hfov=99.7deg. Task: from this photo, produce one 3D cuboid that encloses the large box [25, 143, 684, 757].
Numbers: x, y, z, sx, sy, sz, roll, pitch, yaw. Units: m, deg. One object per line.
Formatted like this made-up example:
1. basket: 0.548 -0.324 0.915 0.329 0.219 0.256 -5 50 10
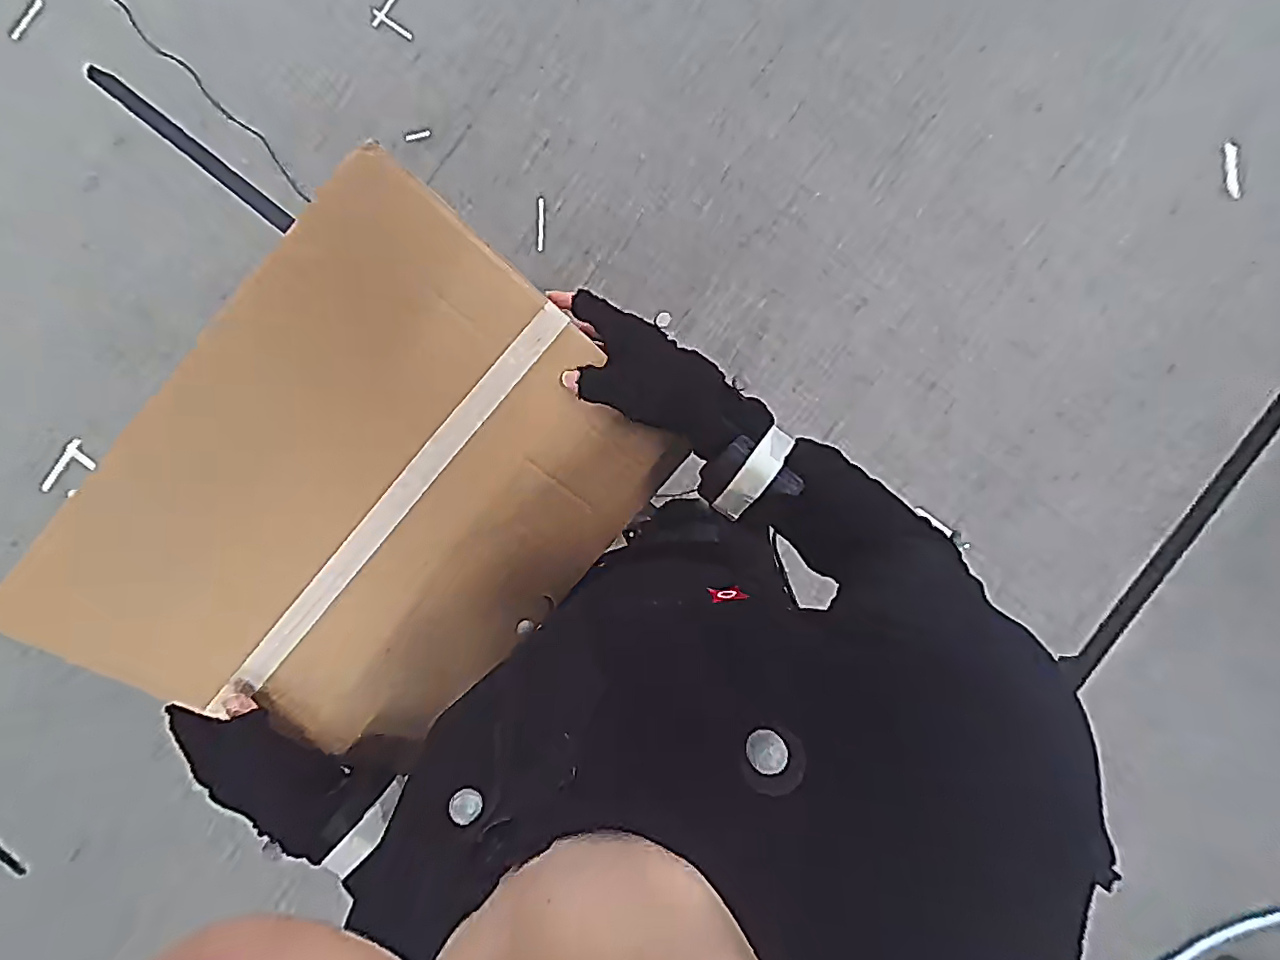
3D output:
1. large box: -0.234 -0.026 0.557 0.320 0.320 0.408 40 93 -25
